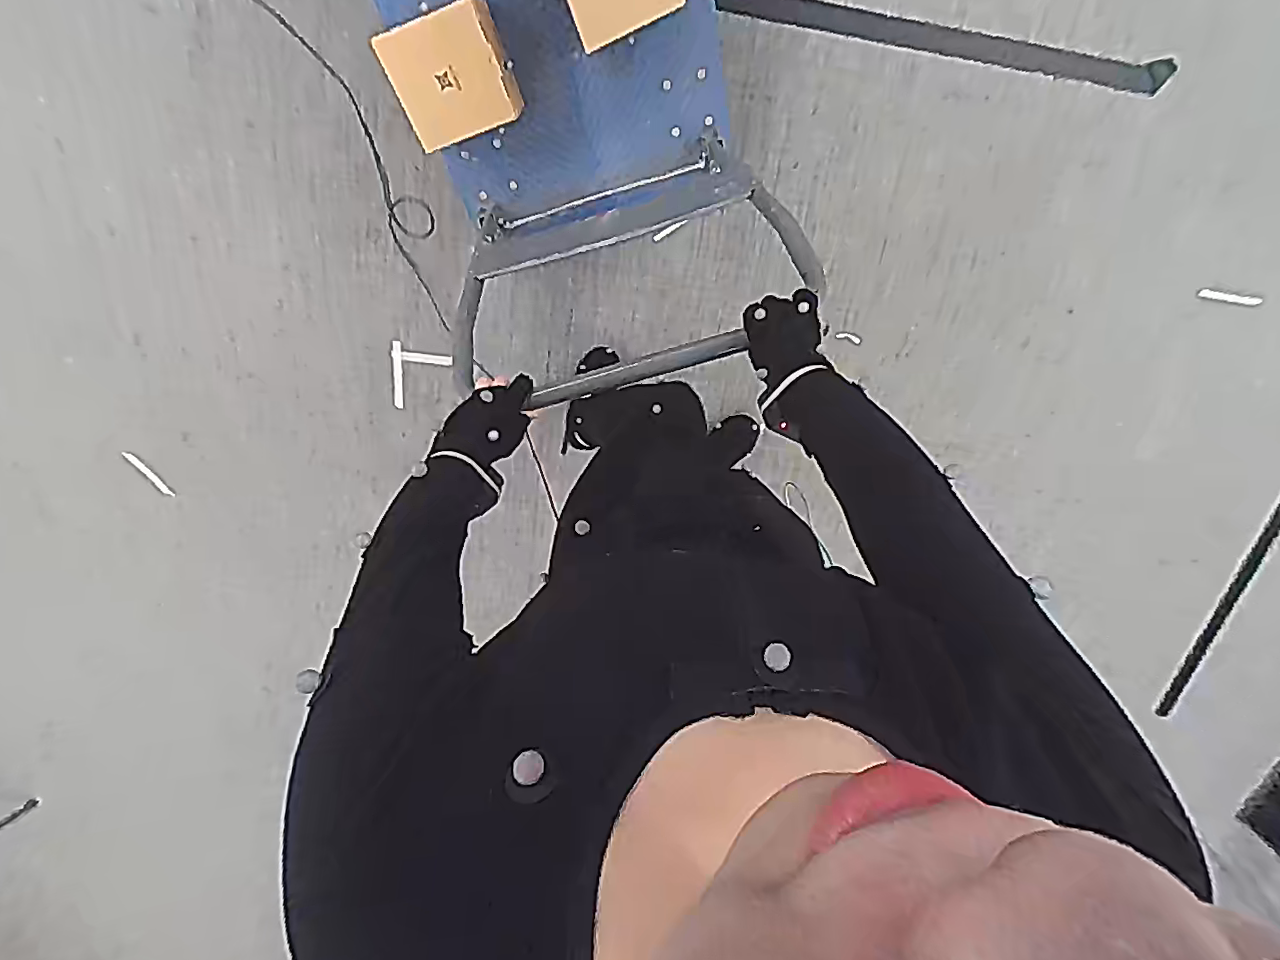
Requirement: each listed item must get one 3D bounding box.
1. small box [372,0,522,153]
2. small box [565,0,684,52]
[{"bbox_3d":[-0.321,-0.701,0.942,0.179,0.176,0.168,-18,129,7],"label":"small box"},{"bbox_3d":[-0.044,-0.823,0.870,0.179,0.176,0.168,-19,129,10],"label":"small box"}]
